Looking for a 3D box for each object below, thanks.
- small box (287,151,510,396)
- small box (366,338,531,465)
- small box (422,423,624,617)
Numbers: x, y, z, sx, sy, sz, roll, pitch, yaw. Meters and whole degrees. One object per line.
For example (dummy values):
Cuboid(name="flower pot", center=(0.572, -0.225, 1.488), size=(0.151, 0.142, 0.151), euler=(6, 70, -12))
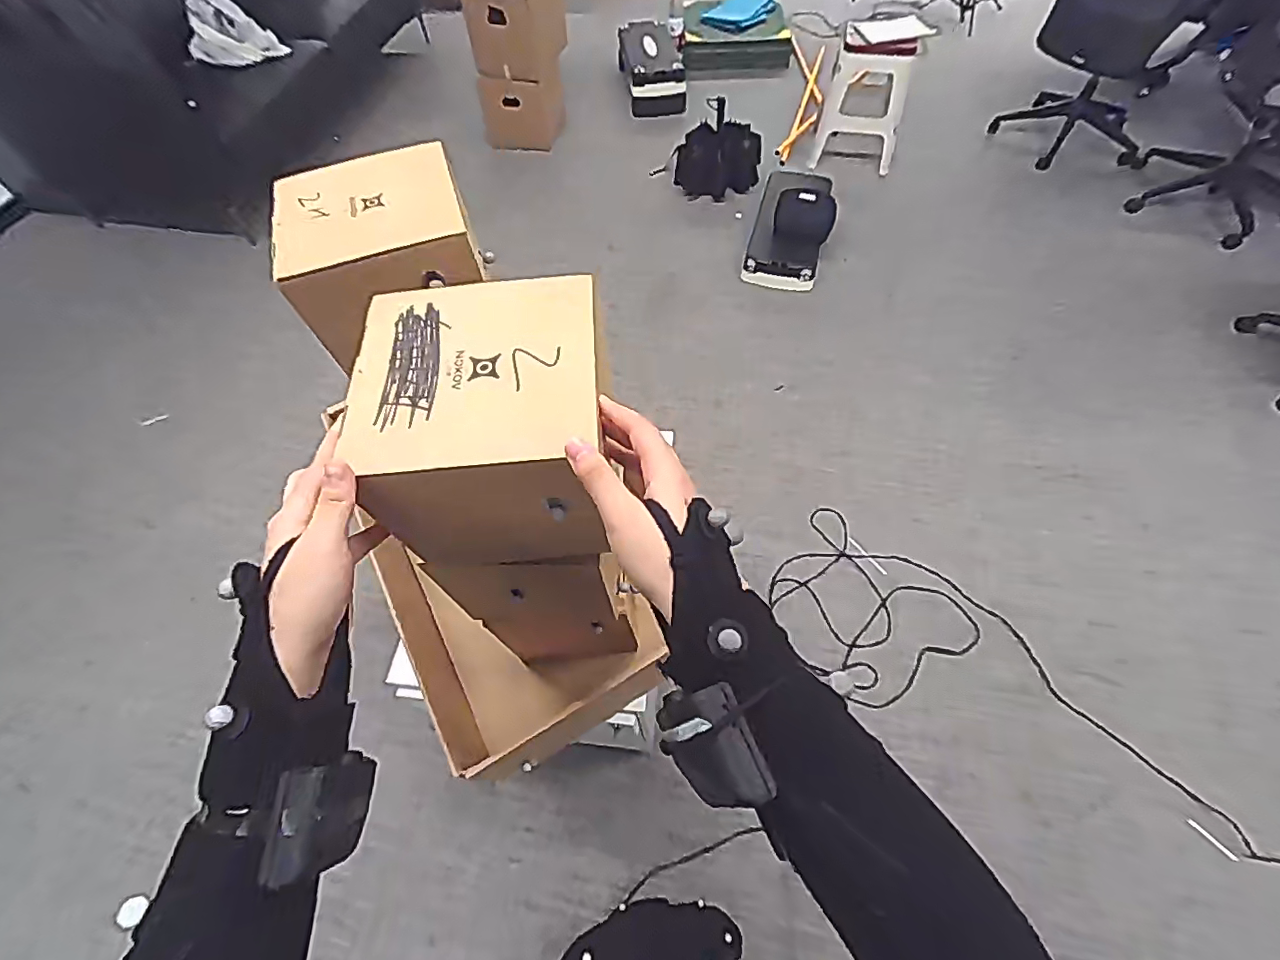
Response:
Cuboid(name="small box", center=(-0.257, -0.224, 0.606), size=(0.179, 0.176, 0.168), euler=(-18, 59, -6))
Cuboid(name="small box", center=(-0.260, -0.150, 0.754), size=(0.168, 0.176, 0.179), euler=(-16, 61, -4))
Cuboid(name="small box", center=(-0.114, 0.051, 0.620), size=(0.179, 0.176, 0.168), euler=(-1, 57, 6))
